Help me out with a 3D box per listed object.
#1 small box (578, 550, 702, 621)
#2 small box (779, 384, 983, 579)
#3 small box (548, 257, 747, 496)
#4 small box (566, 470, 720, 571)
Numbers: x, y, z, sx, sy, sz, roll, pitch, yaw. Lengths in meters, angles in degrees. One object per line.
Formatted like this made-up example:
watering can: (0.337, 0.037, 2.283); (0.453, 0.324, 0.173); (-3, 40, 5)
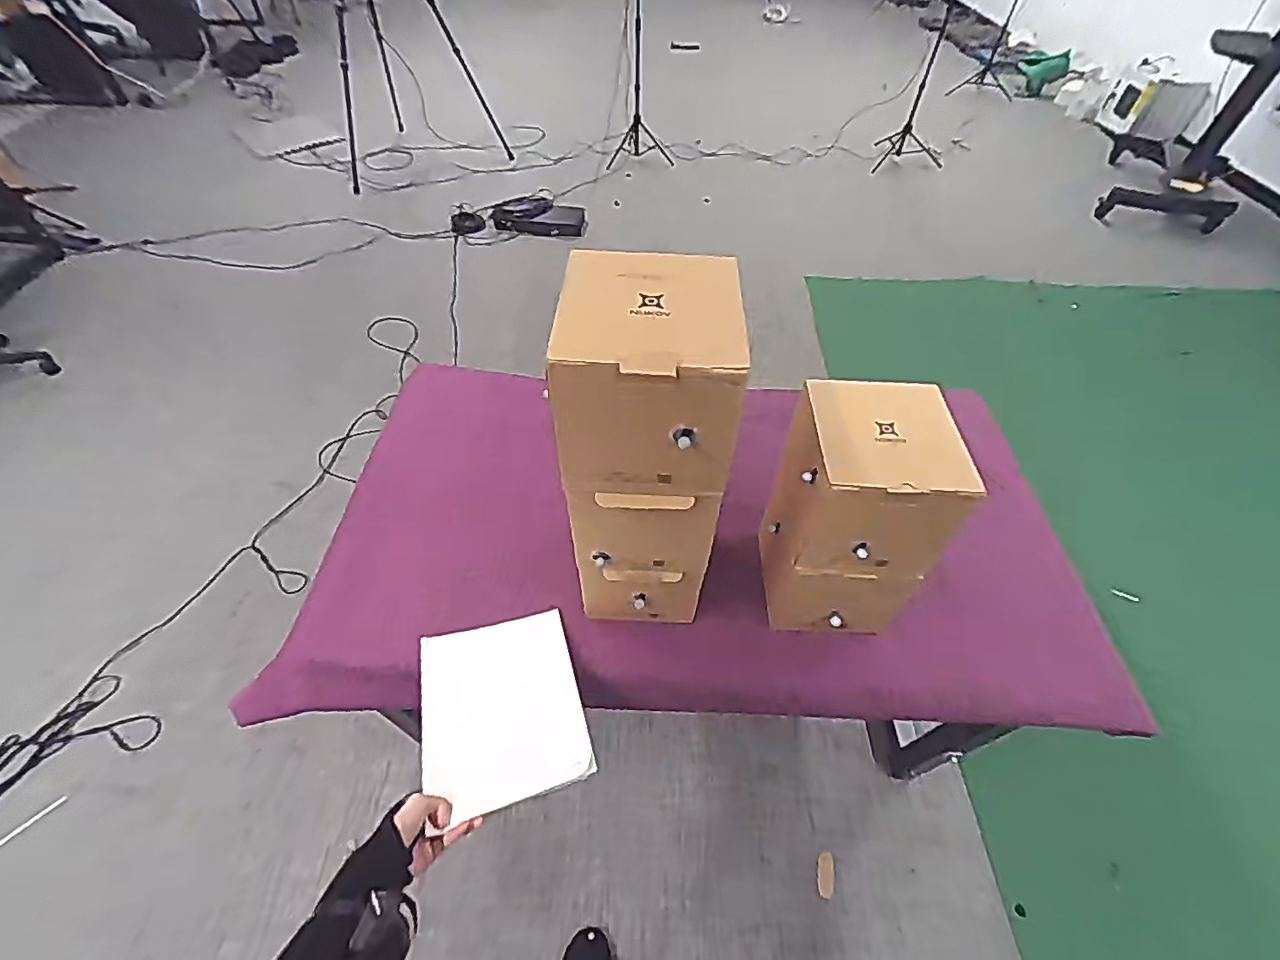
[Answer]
small box: (0.005, 0.097, 0.810); (0.168, 0.176, 0.179); (3, 51, 1)
small box: (0.280, 0.003, 0.681); (0.168, 0.176, 0.179); (3, 50, 1)
small box: (0.010, -0.101, 0.548); (0.168, 0.176, 0.179); (4, 50, 1)
small box: (0.007, -0.002, 0.678); (0.168, 0.176, 0.179); (3, 50, 1)
